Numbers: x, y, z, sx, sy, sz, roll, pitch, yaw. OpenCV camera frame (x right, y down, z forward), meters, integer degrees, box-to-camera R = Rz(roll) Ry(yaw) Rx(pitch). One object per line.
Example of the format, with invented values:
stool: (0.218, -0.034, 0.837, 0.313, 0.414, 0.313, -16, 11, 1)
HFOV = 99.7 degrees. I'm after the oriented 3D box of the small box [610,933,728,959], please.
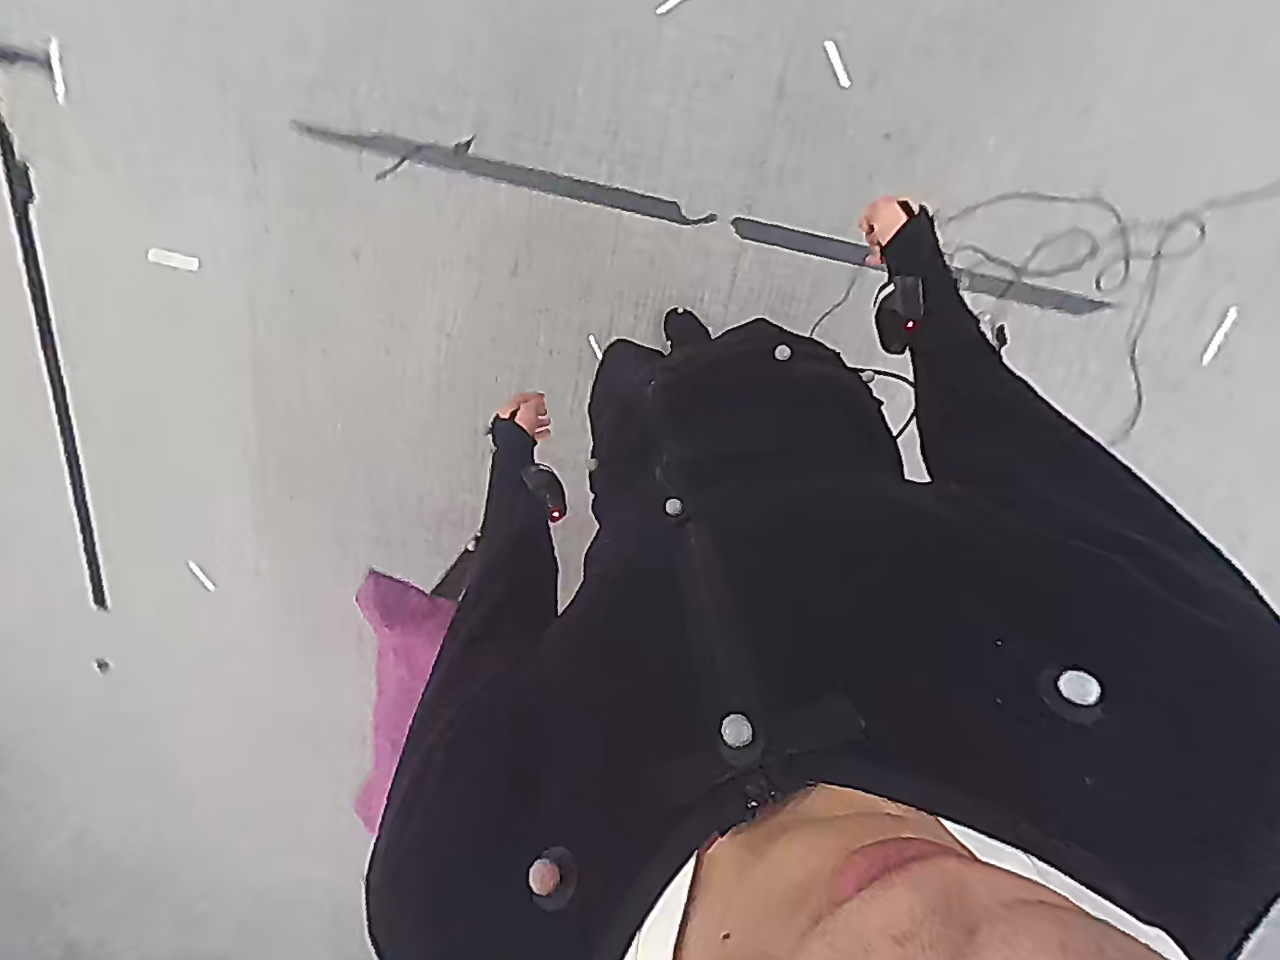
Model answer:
small box: (0.027, 0.787, 0.759, 0.179, 0.176, 0.168, 10, 112, 2)
